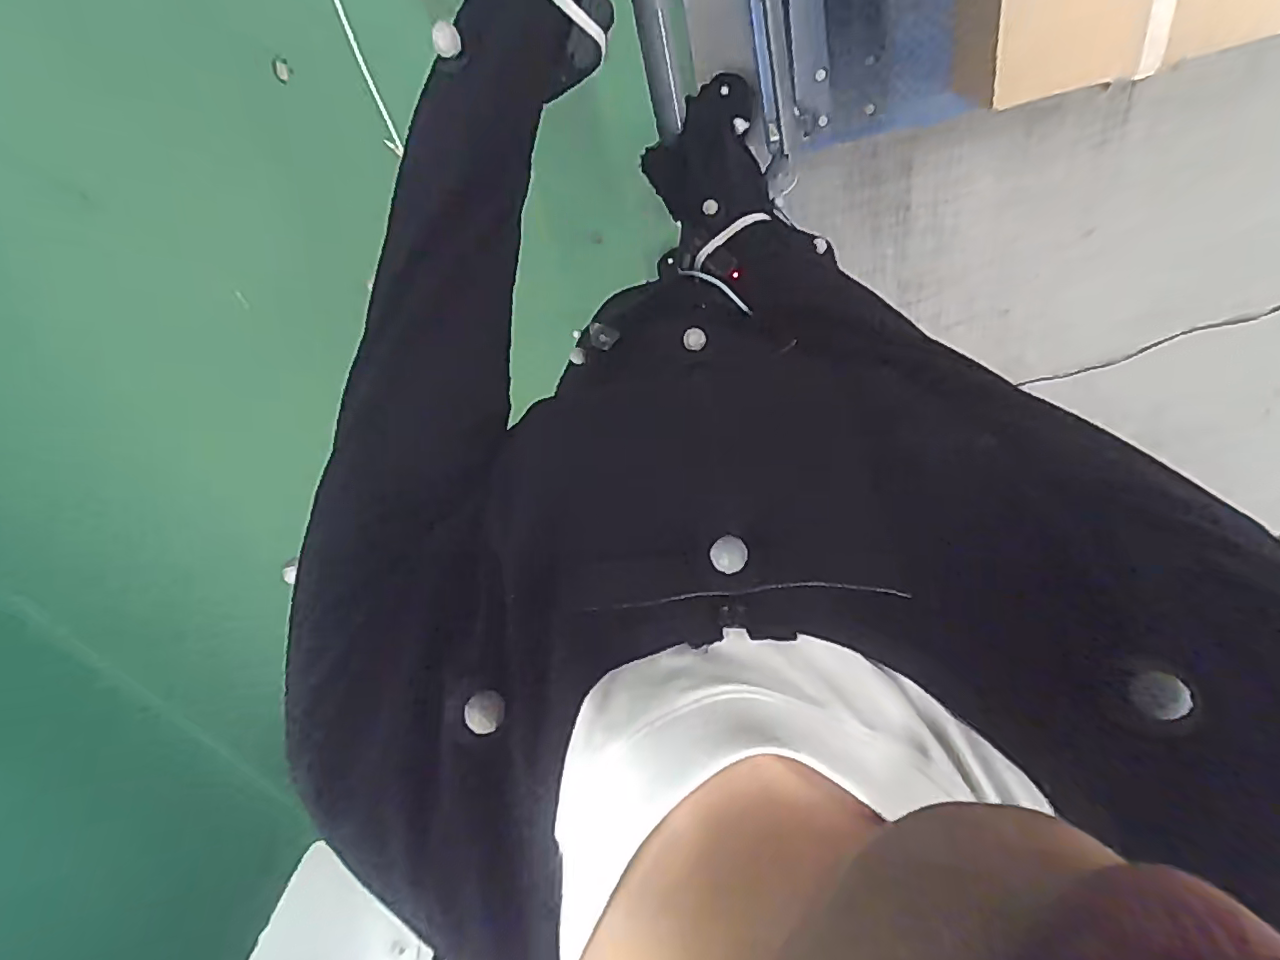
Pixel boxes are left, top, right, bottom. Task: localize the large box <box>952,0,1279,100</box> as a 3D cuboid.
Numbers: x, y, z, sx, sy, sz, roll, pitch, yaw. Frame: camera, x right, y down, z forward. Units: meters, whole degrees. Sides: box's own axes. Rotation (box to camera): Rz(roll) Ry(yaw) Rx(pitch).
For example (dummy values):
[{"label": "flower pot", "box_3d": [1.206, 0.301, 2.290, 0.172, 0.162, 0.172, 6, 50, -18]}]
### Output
[{"label": "large box", "box_3d": [0.574, -0.747, 0.650, 0.320, 0.320, 0.408, -3, 126, 21]}]
